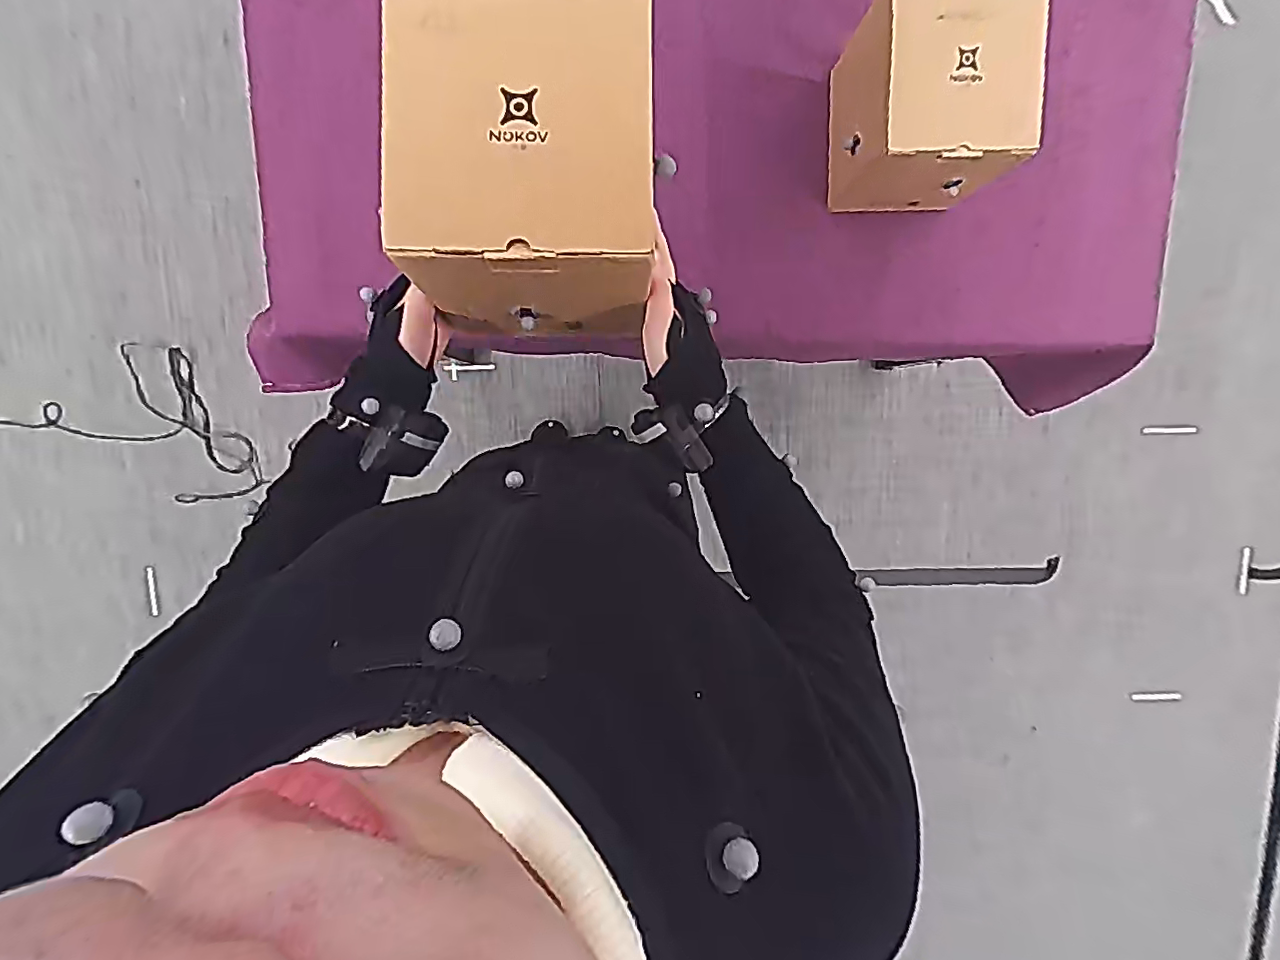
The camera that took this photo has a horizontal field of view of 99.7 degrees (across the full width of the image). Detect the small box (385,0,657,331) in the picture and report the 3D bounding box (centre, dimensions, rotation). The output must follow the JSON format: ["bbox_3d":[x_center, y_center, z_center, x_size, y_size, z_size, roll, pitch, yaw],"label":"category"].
[{"bbox_3d":[-0.076,-0.225,0.410,0.168,0.176,0.179,0,90,-2],"label":"small box"}]

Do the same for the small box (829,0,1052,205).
[{"bbox_3d":[0.334,-0.440,0.634,0.168,0.176,0.179,-1,97,-2],"label":"small box"}]
